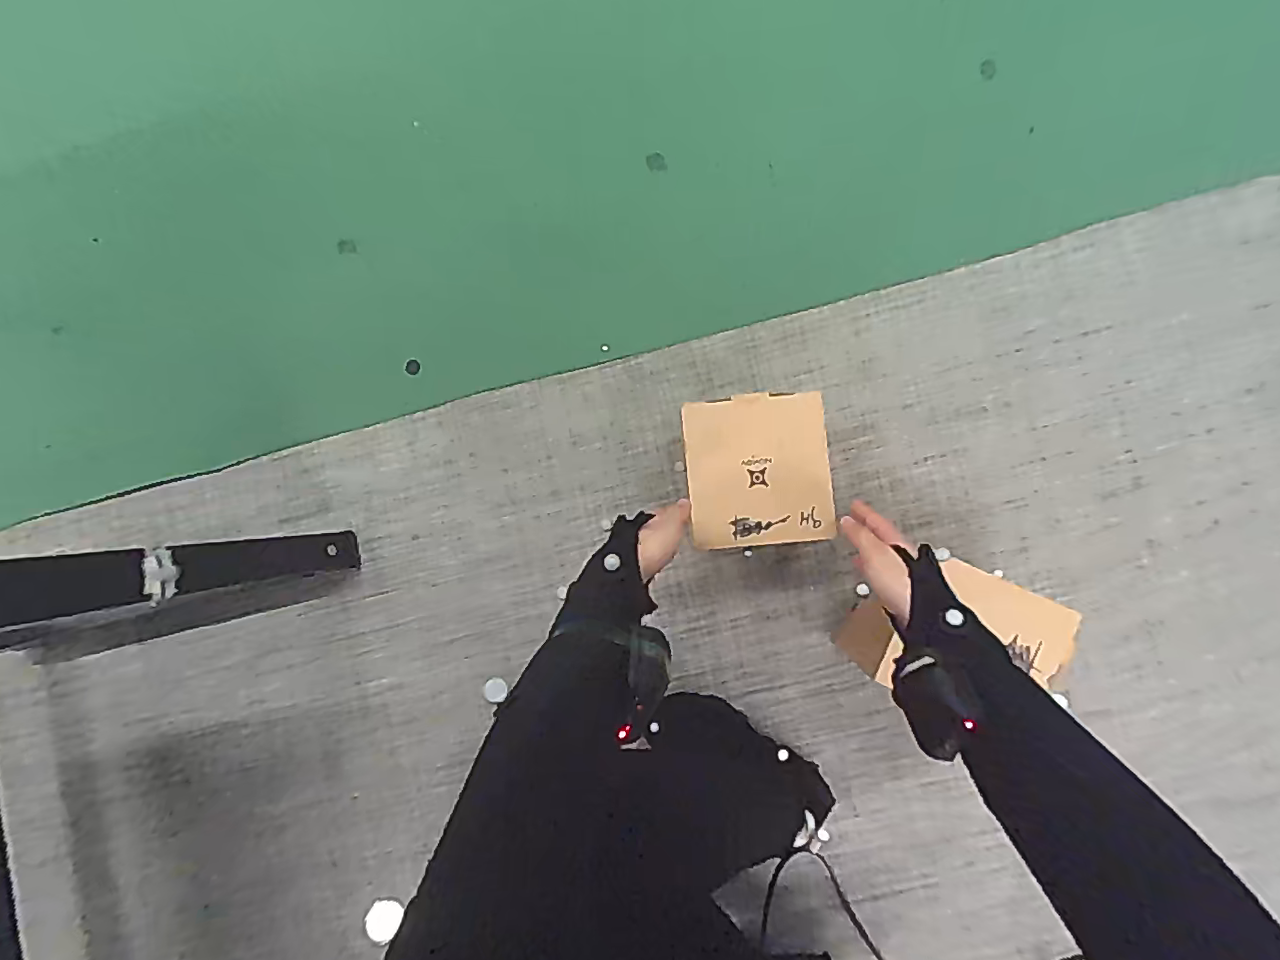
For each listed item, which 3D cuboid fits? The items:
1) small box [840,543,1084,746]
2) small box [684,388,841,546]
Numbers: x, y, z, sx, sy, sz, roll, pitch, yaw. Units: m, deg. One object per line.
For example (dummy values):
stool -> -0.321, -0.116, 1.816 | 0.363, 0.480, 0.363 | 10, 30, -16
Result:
small box -> 0.382, 0.186, 0.677 | 0.179, 0.176, 0.168 | 25, 90, 6
small box -> 0.146, -0.010, 0.703 | 0.168, 0.176, 0.179 | -5, 87, 3
